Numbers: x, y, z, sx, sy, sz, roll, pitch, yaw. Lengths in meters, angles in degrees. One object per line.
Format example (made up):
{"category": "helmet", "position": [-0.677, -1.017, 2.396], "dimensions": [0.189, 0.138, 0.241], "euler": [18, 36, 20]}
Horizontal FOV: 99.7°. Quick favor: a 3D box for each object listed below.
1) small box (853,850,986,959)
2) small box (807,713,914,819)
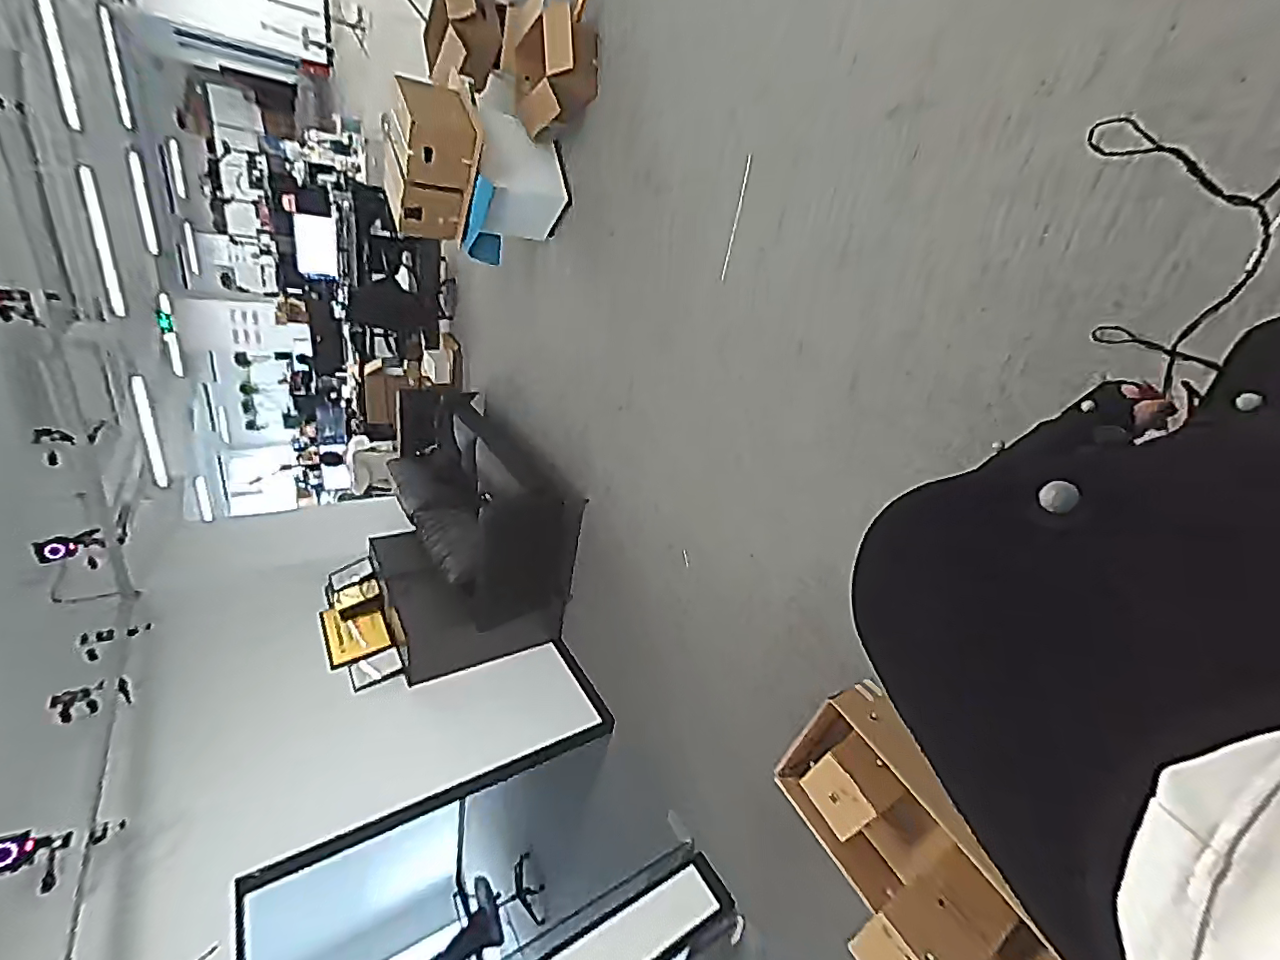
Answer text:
{"category": "small box", "position": [0.612, 0.965, 1.185], "dimensions": [0.168, 0.176, 0.179], "euler": [46, 133, 41]}
{"category": "small box", "position": [0.597, 0.768, 1.461], "dimensions": [0.168, 0.176, 0.179], "euler": [52, 137, 36]}
